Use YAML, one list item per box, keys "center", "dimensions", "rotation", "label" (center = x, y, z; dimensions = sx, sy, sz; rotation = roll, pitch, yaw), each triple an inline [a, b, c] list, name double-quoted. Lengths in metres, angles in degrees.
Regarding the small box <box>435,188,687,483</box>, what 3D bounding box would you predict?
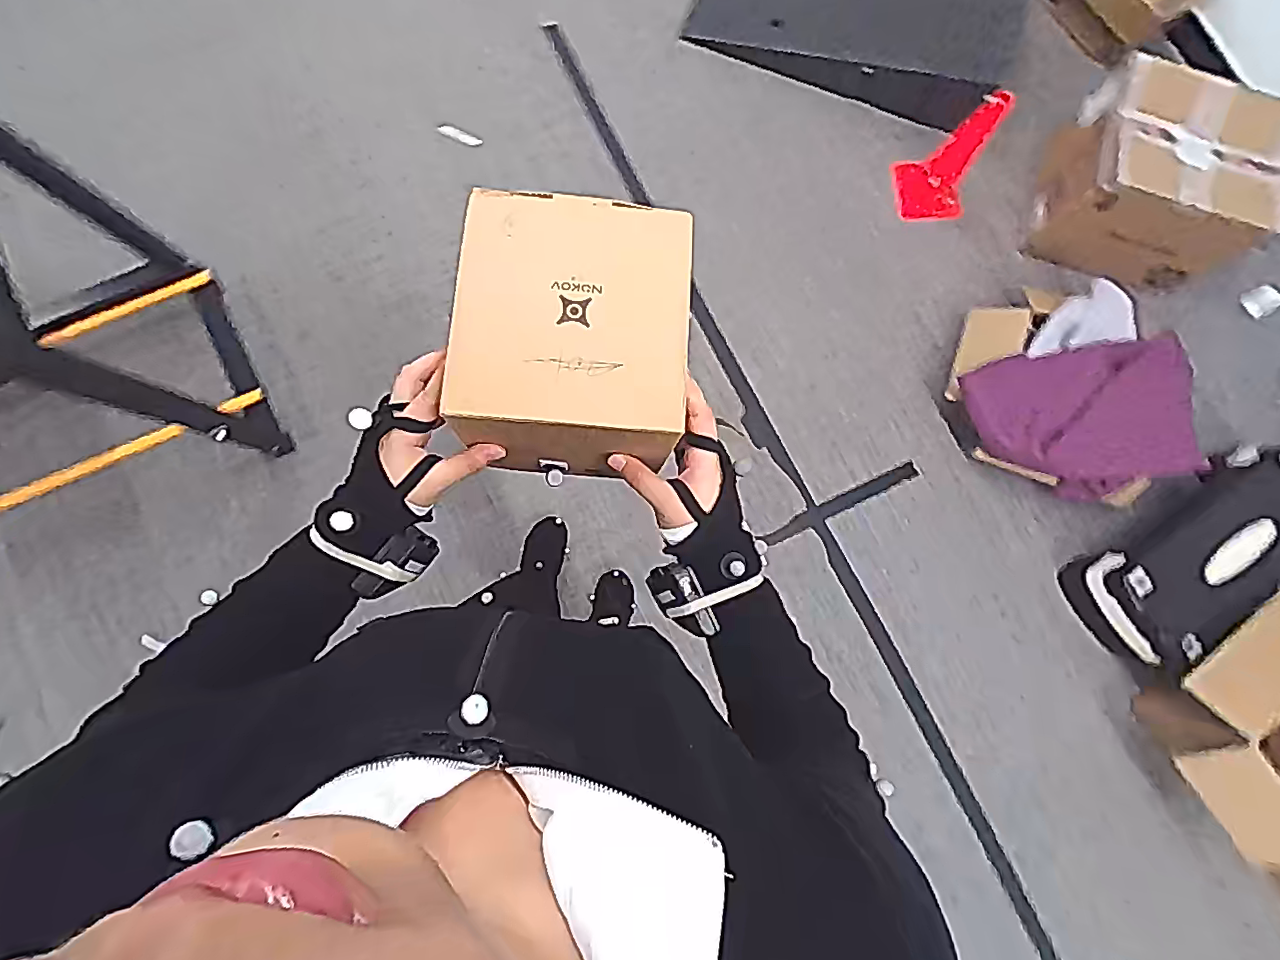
- center: [-0.058, -0.103, 0.454]
  dimensions: [0.168, 0.176, 0.179]
  rotation: [3, 79, -5]
  label: "small box"
